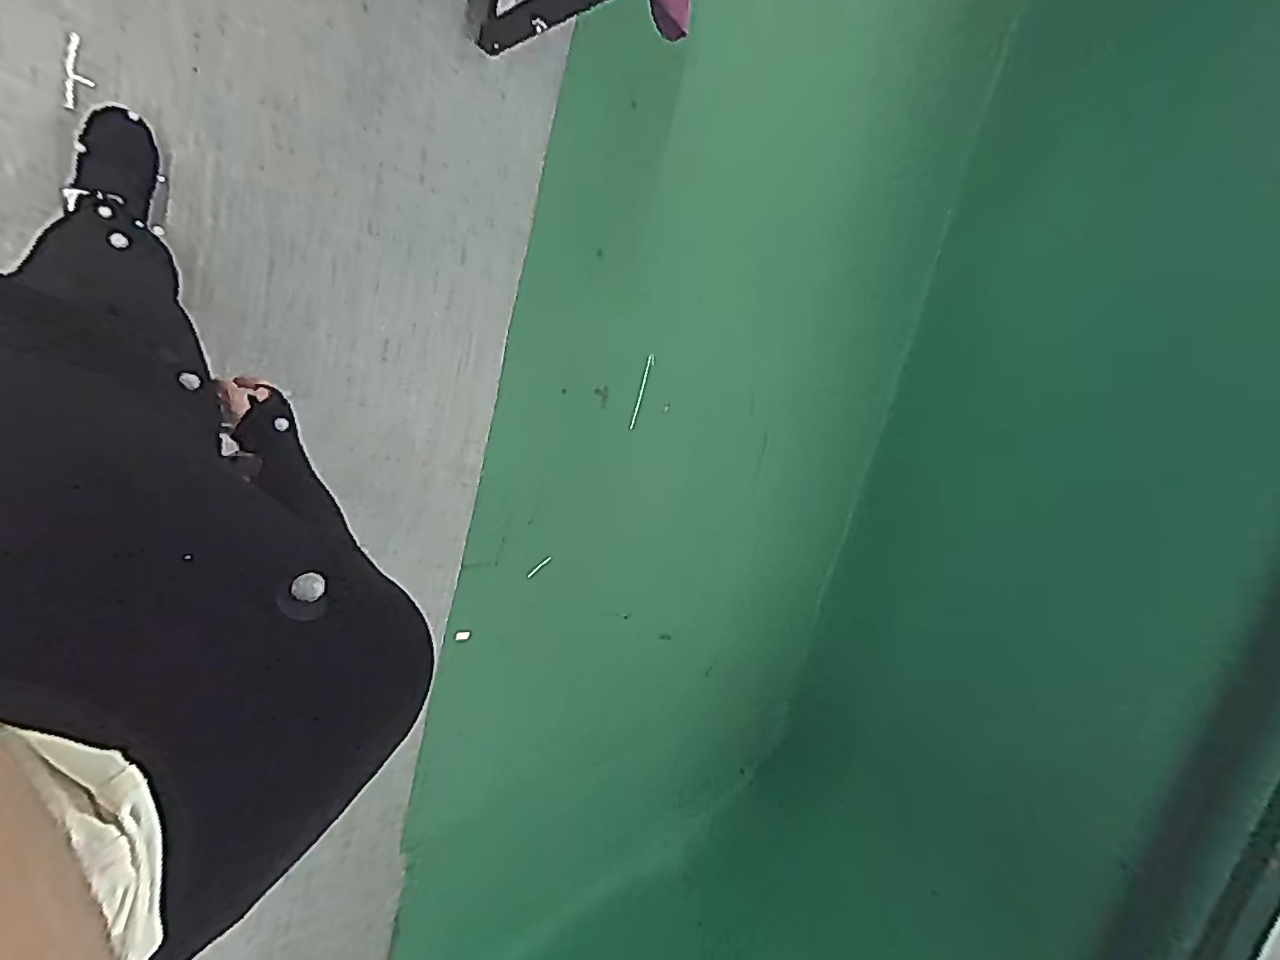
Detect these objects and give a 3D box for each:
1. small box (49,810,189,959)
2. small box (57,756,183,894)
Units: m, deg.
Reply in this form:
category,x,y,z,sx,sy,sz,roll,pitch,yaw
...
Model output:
category,x,y,z,sx,sy,sz,roll,pitch,yaw
small box,-1.000,0.788,1.042,0.168,0.176,0.179,13,99,-47
small box,-1.105,0.733,1.156,0.168,0.176,0.179,12,99,-46
